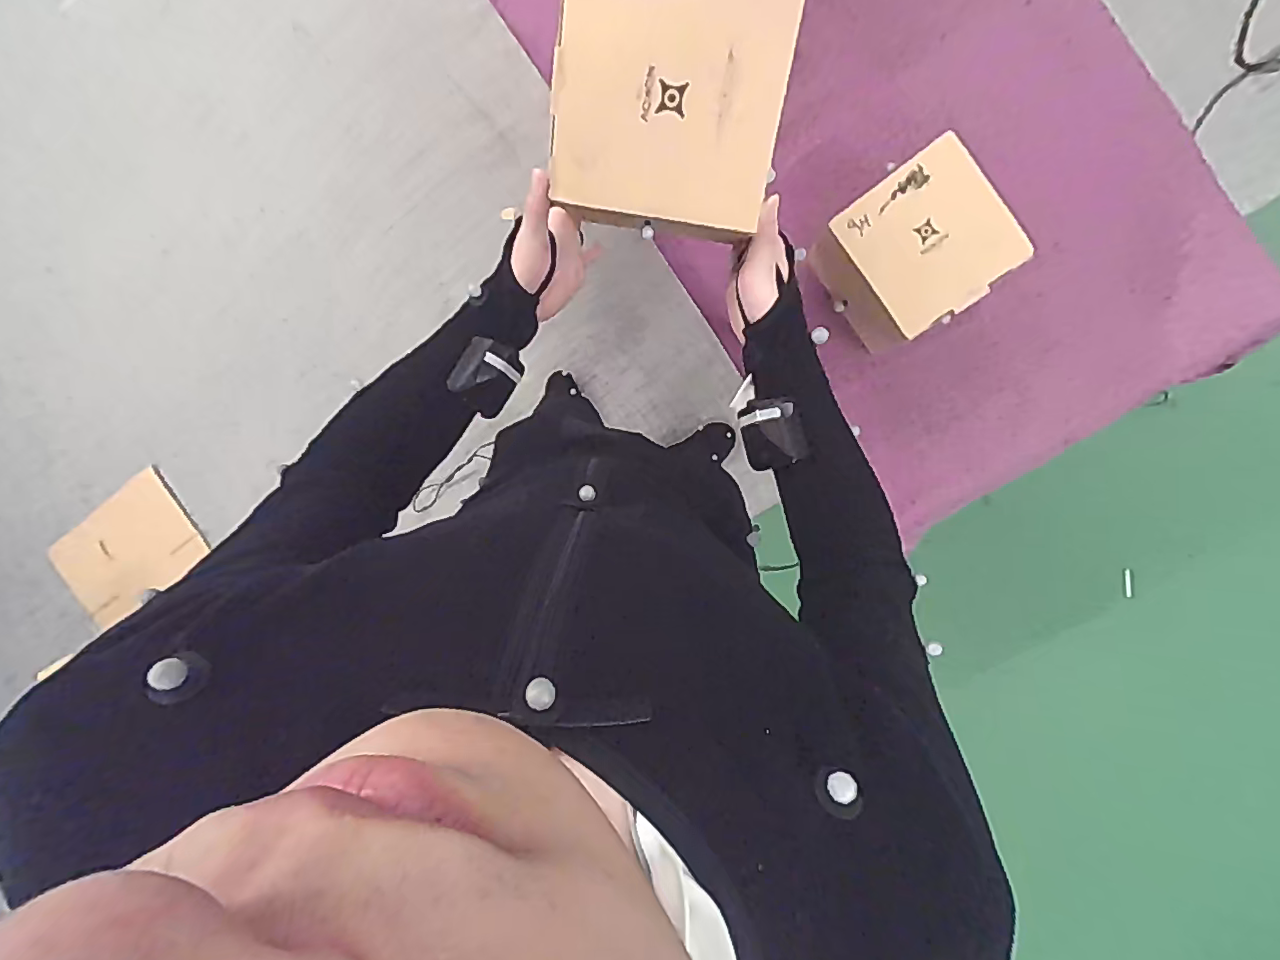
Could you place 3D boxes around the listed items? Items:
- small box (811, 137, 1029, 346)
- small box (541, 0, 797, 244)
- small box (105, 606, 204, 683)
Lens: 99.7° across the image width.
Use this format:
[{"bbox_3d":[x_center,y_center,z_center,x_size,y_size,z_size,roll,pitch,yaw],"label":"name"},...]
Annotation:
[{"bbox_3d":[0.351,-0.294,0.716,0.168,0.176,0.179,-34,92,12],"label":"small box"},{"bbox_3d":[0.024,-0.316,0.489,0.179,0.176,0.168,10,111,2],"label":"small box"},{"bbox_3d":[-1.703,0.577,1.909,0.168,0.176,0.179,-28,92,12],"label":"small box"}]
